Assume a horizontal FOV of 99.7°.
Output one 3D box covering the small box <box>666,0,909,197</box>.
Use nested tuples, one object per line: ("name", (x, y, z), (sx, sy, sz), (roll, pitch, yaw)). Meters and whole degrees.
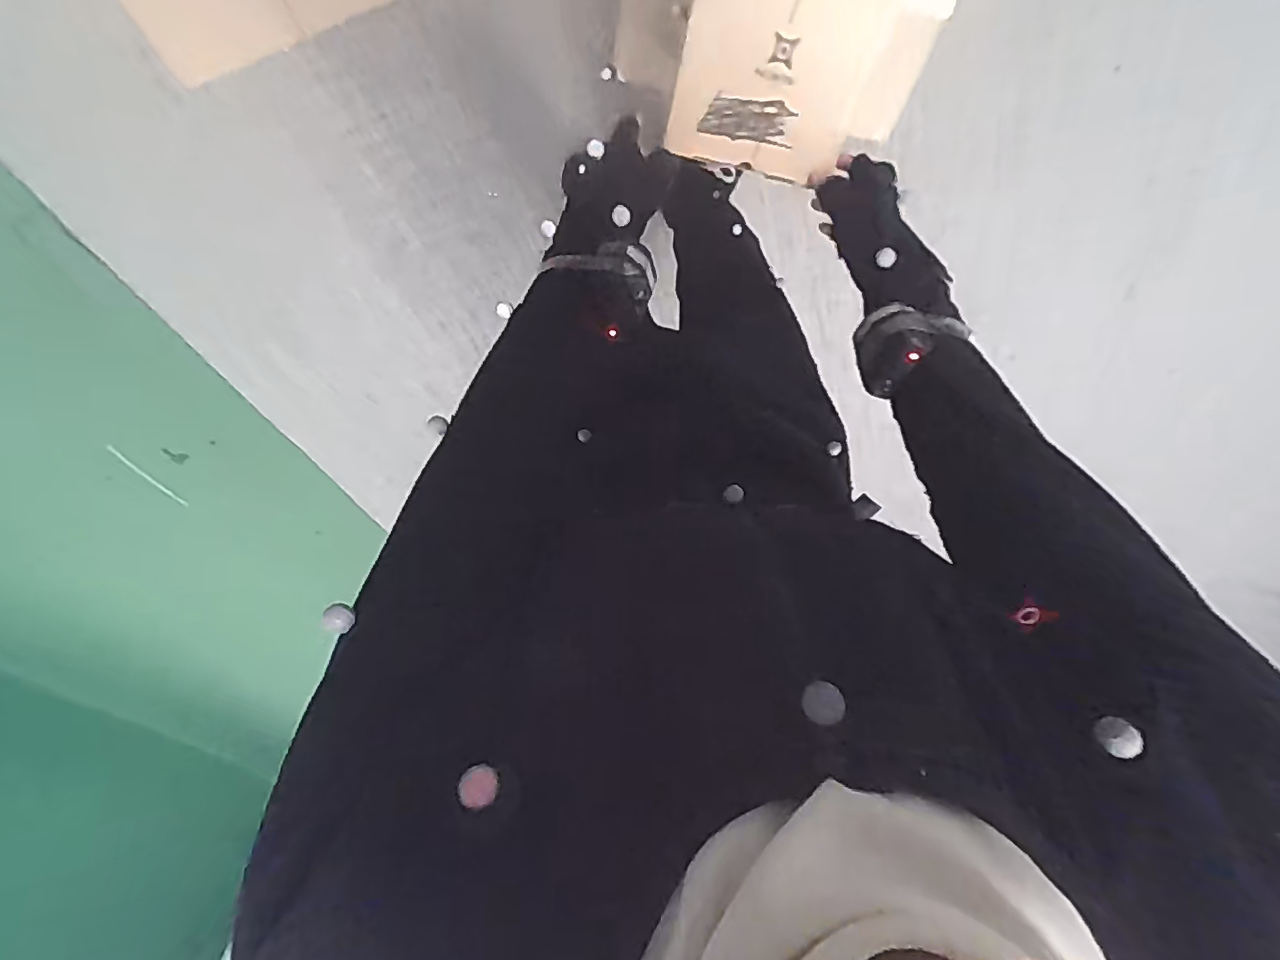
("small box", (0.128, -0.410, 0.522), (0.168, 0.176, 0.179), (11, 135, -5))
